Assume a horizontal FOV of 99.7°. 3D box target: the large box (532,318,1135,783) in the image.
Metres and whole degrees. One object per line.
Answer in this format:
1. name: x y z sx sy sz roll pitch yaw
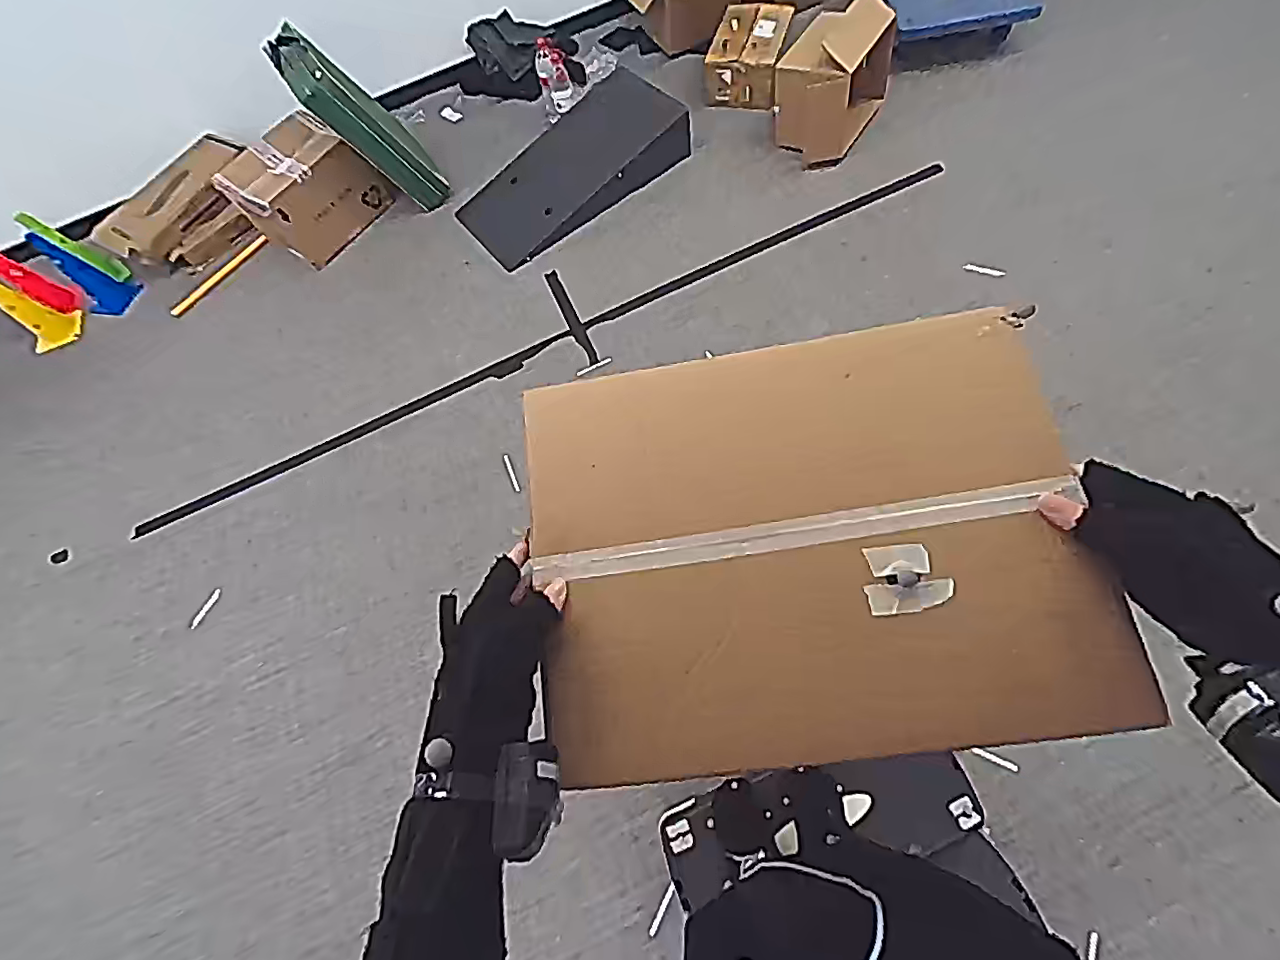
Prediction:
1. large box: 0.136 0.084 0.562 0.408 0.320 0.320 -9 73 5

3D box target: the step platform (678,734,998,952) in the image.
1. step platform: 0.434 0.753 1.242 0.684 0.204 0.286 -26 64 -4
